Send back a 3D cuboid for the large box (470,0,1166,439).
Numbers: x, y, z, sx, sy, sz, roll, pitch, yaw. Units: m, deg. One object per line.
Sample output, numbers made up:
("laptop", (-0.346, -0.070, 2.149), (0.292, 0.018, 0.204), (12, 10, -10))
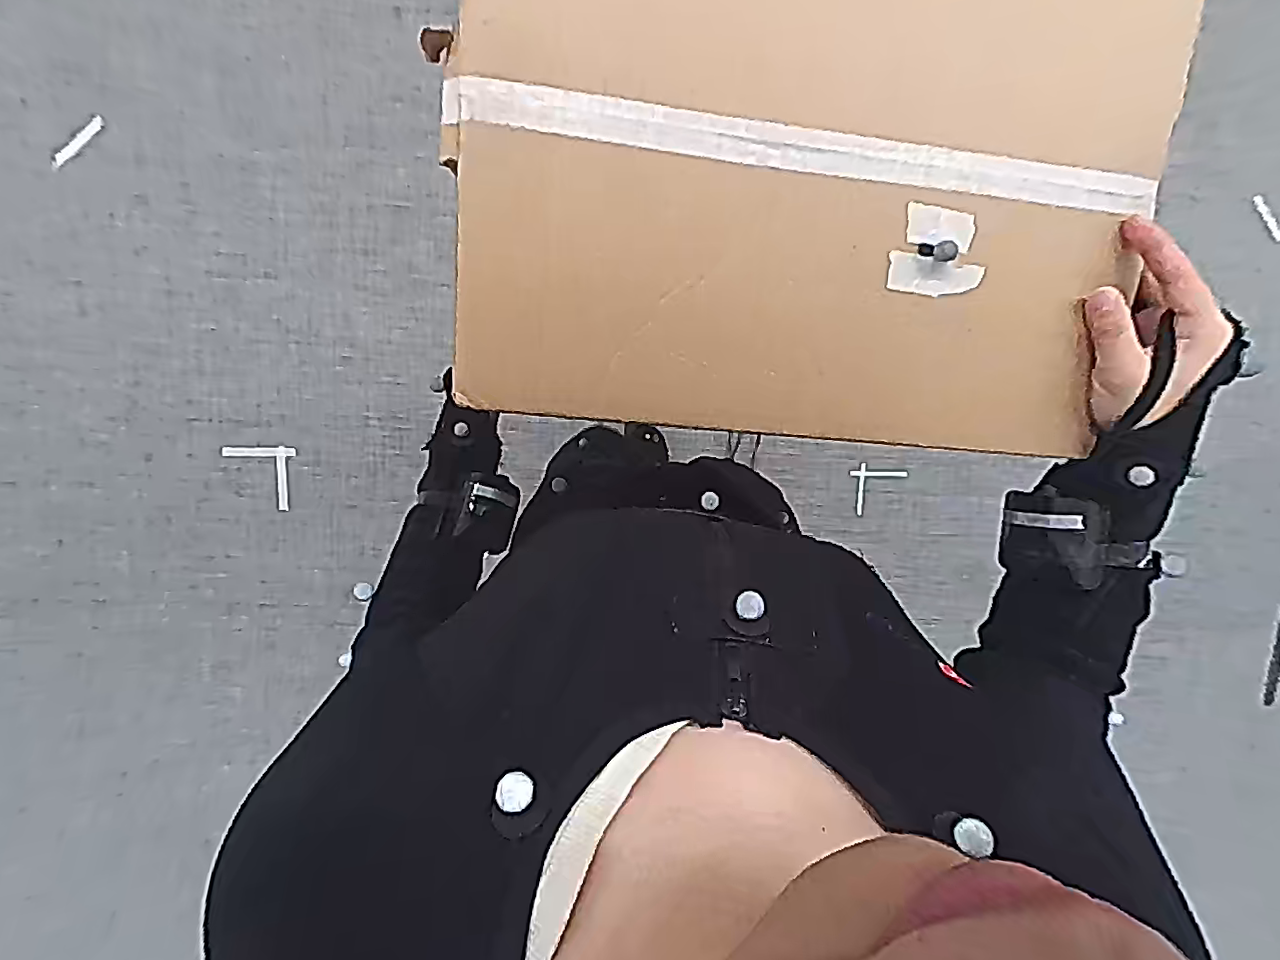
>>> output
("large box", (0.086, -0.213, 0.457), (0.408, 0.320, 0.320), (3, 101, -8))
